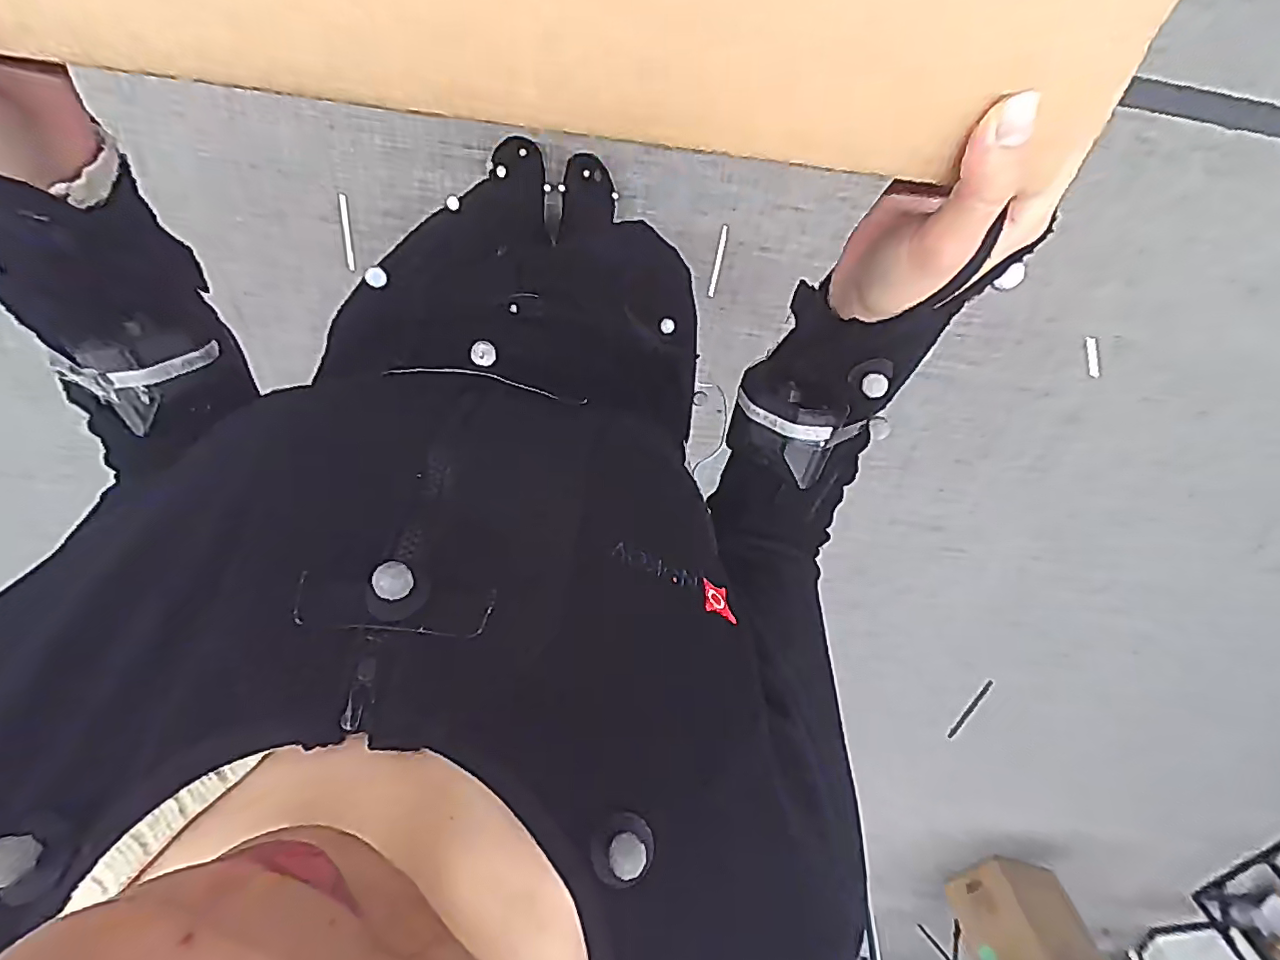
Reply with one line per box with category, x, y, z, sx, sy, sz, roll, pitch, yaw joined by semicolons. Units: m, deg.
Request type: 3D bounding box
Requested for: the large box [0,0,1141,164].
large box;-0.029;-0.344;0.169;0.408;0.320;0.320;4;142;-6
